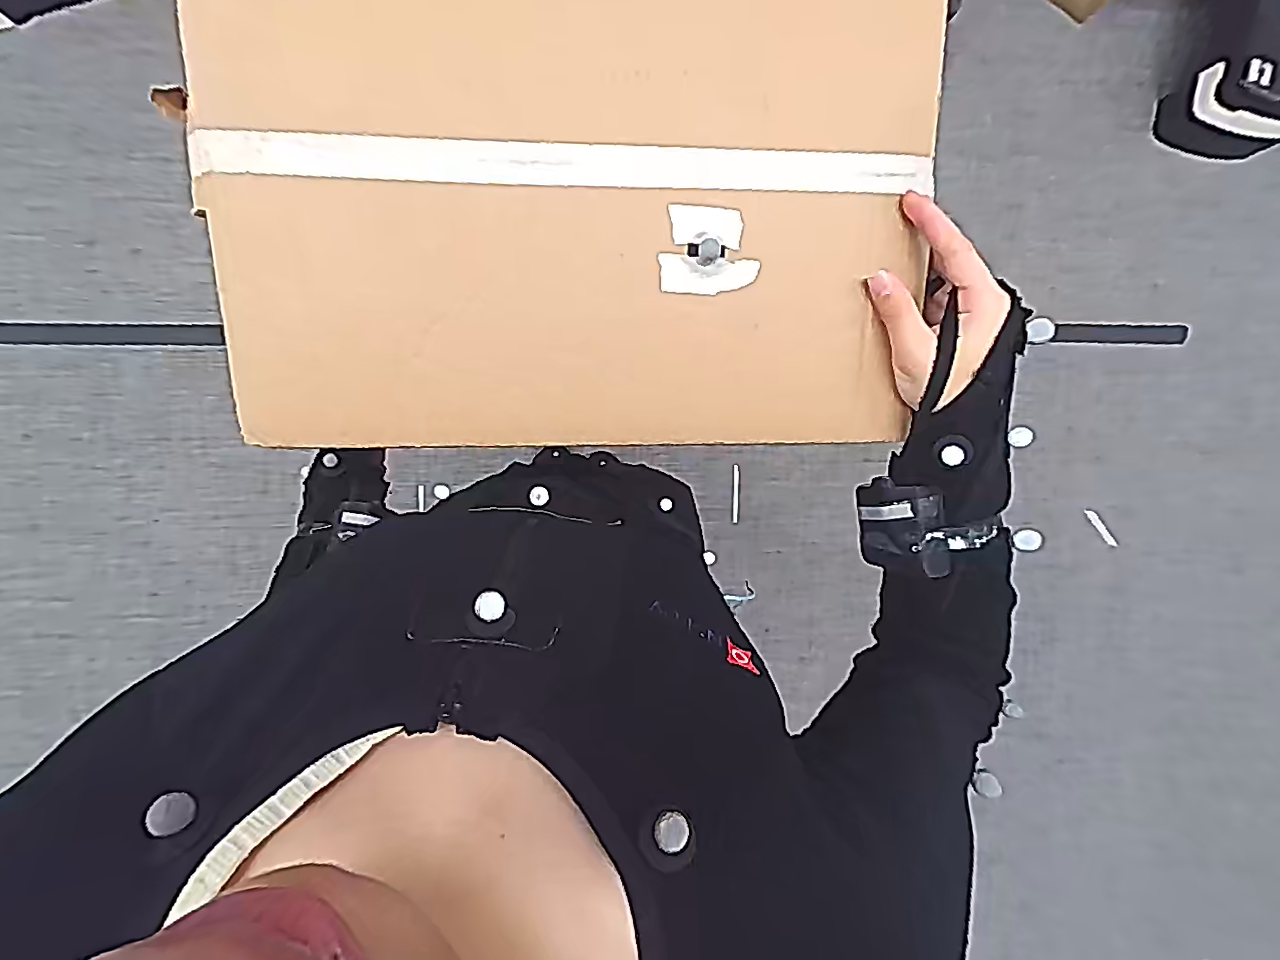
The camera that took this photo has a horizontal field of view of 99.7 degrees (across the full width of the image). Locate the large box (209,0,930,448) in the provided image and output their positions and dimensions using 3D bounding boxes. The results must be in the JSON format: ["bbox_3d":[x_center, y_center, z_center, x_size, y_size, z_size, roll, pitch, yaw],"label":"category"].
[{"bbox_3d":[-0.044,-0.204,0.460,0.408,0.320,0.320,-1,101,-6],"label":"large box"}]
